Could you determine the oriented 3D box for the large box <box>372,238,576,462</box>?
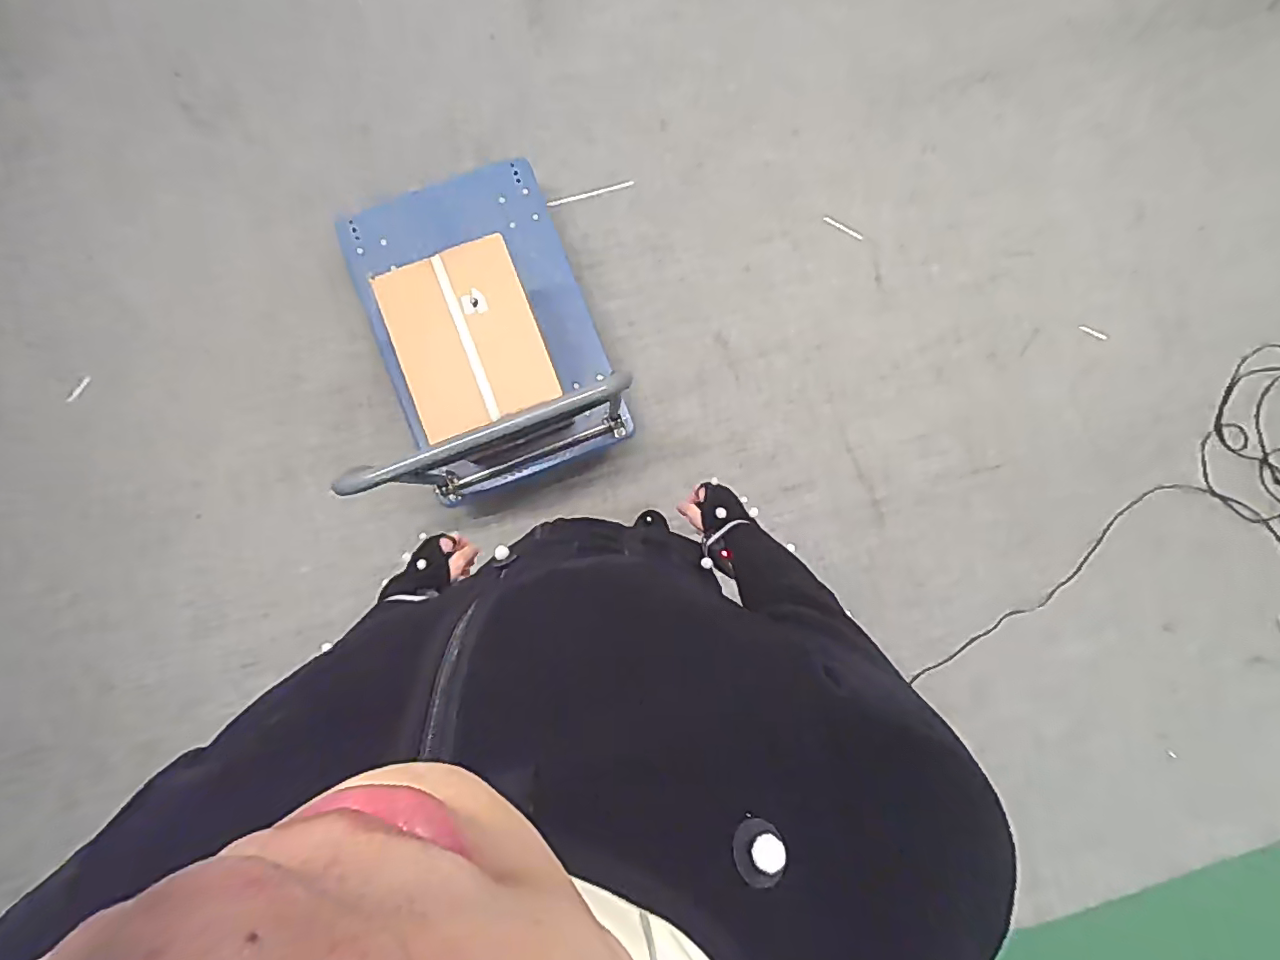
[{"bbox_3d":[-0.385,-0.297,1.344,0.320,0.320,0.408,-22,86,-4],"label":"large box"}]
